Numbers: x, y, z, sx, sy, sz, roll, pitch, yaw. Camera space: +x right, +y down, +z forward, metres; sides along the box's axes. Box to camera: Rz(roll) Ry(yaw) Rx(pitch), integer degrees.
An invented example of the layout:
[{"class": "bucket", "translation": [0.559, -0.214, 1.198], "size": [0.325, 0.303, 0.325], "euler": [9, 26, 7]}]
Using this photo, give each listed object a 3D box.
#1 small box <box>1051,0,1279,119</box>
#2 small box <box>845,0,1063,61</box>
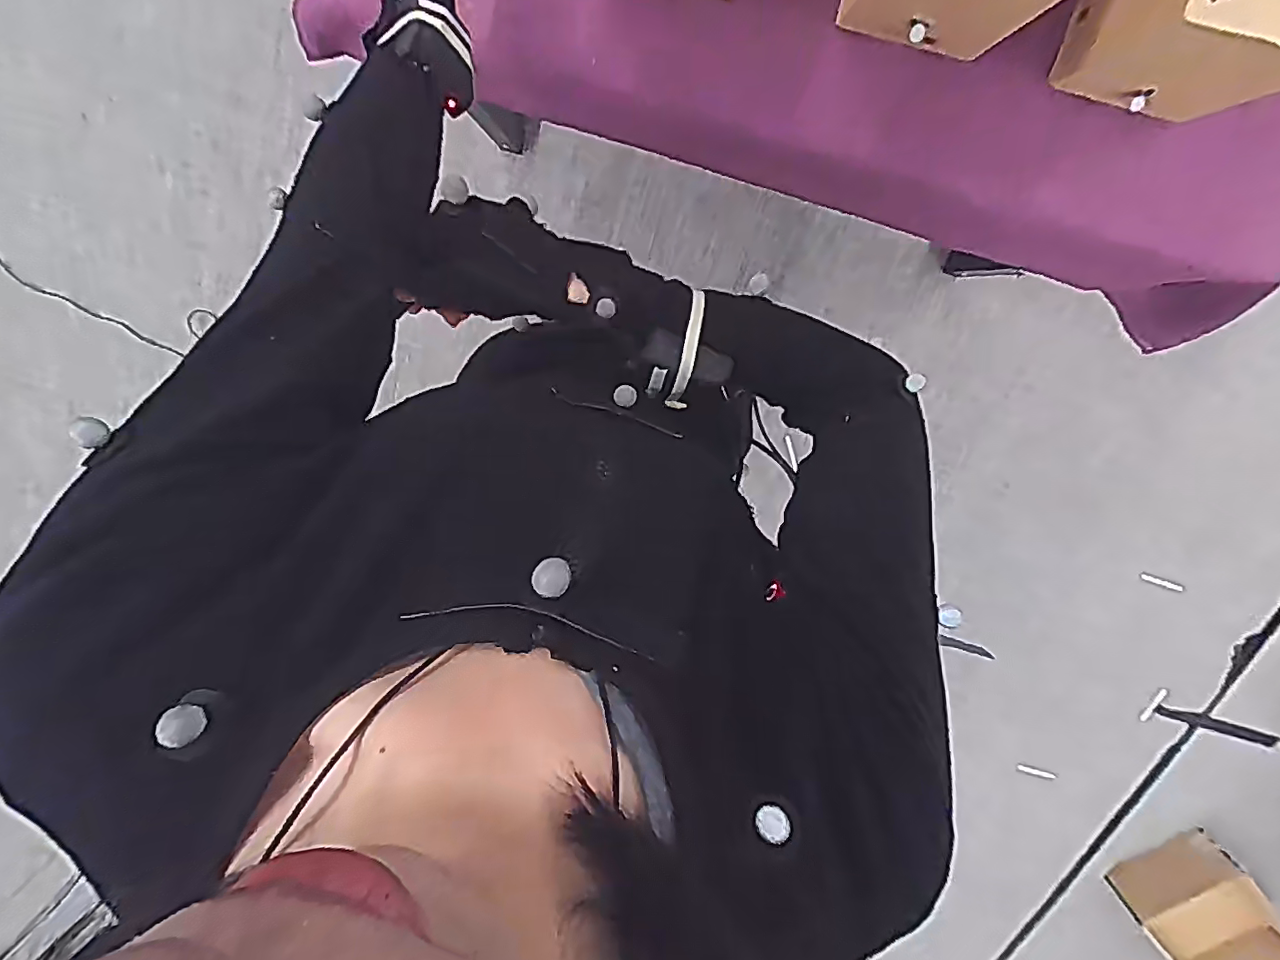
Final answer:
[{"class": "small box", "translation": [0.574, -0.487, 0.535], "size": [0.179, 0.176, 0.168], "euler": [11, 108, -5]}, {"class": "small box", "translation": [0.318, -0.545, 0.508], "size": [0.168, 0.176, 0.179], "euler": [11, 109, -5]}]
